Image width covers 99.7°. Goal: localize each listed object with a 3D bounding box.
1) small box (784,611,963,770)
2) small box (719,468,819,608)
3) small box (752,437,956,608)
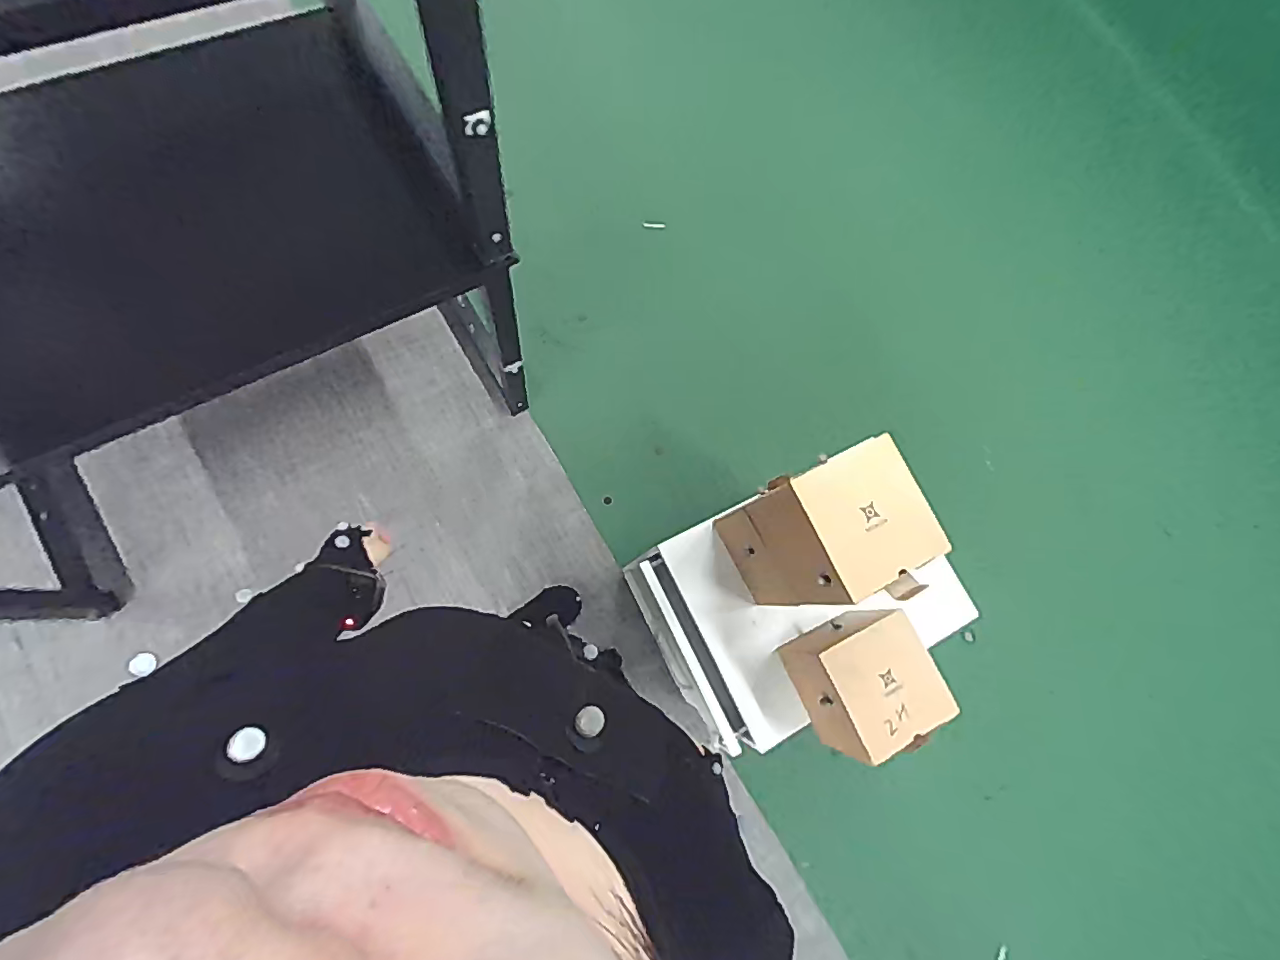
[{"bbox_3d":[0.362,0.328,0.877,0.168,0.176,0.179,-22,80,-12],"label":"small box"},{"bbox_3d":[0.258,0.105,0.918,0.168,0.176,0.179,-26,82,-14],"label":"small box"},{"bbox_3d":[0.285,0.067,0.761,0.168,0.176,0.179,-25,83,-14],"label":"small box"}]
